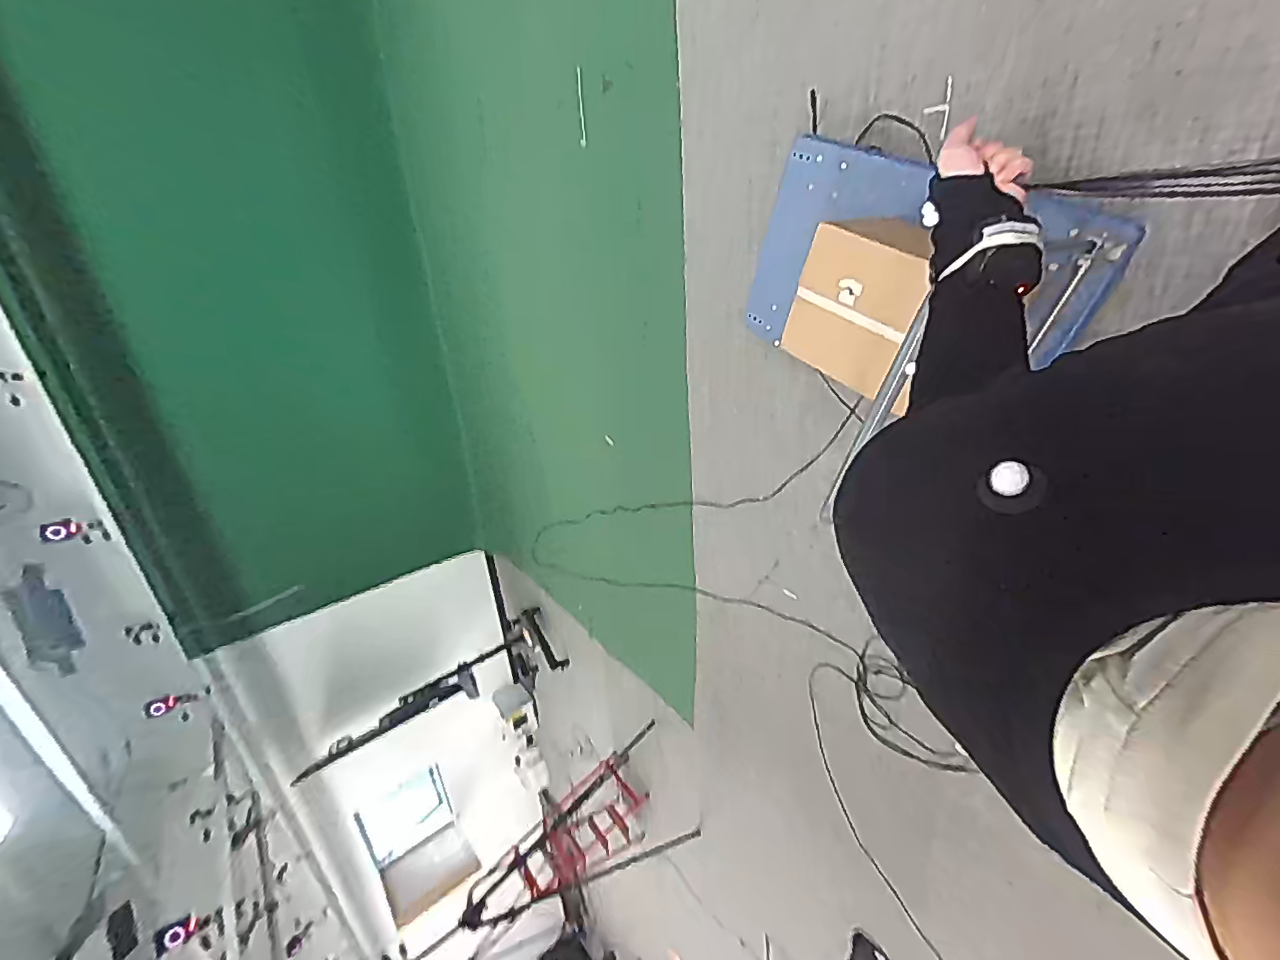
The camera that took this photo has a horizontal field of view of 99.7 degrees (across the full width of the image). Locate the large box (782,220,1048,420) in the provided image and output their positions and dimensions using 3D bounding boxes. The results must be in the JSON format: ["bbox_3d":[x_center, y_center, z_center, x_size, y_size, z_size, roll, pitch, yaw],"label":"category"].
[{"bbox_3d":[0.625,-0.396,1.279,0.408,0.320,0.320,43,138,35],"label":"large box"}]
